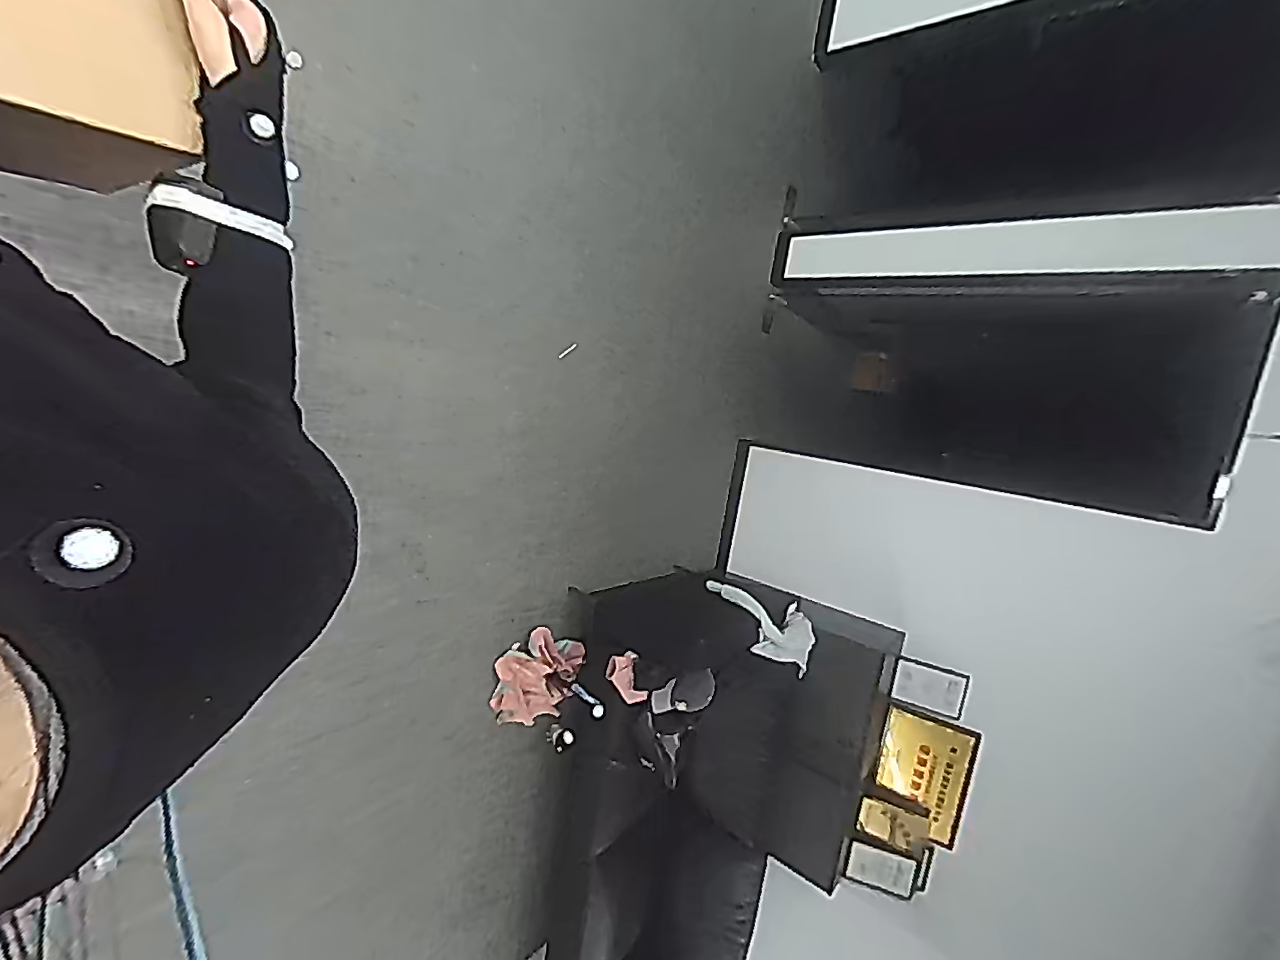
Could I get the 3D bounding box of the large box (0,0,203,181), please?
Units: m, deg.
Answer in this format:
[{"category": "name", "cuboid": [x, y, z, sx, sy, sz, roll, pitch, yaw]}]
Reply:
[{"category": "large box", "cuboid": [-0.570, -0.410, 0.323, 0.408, 0.320, 0.320, -13, 112, -52]}]
